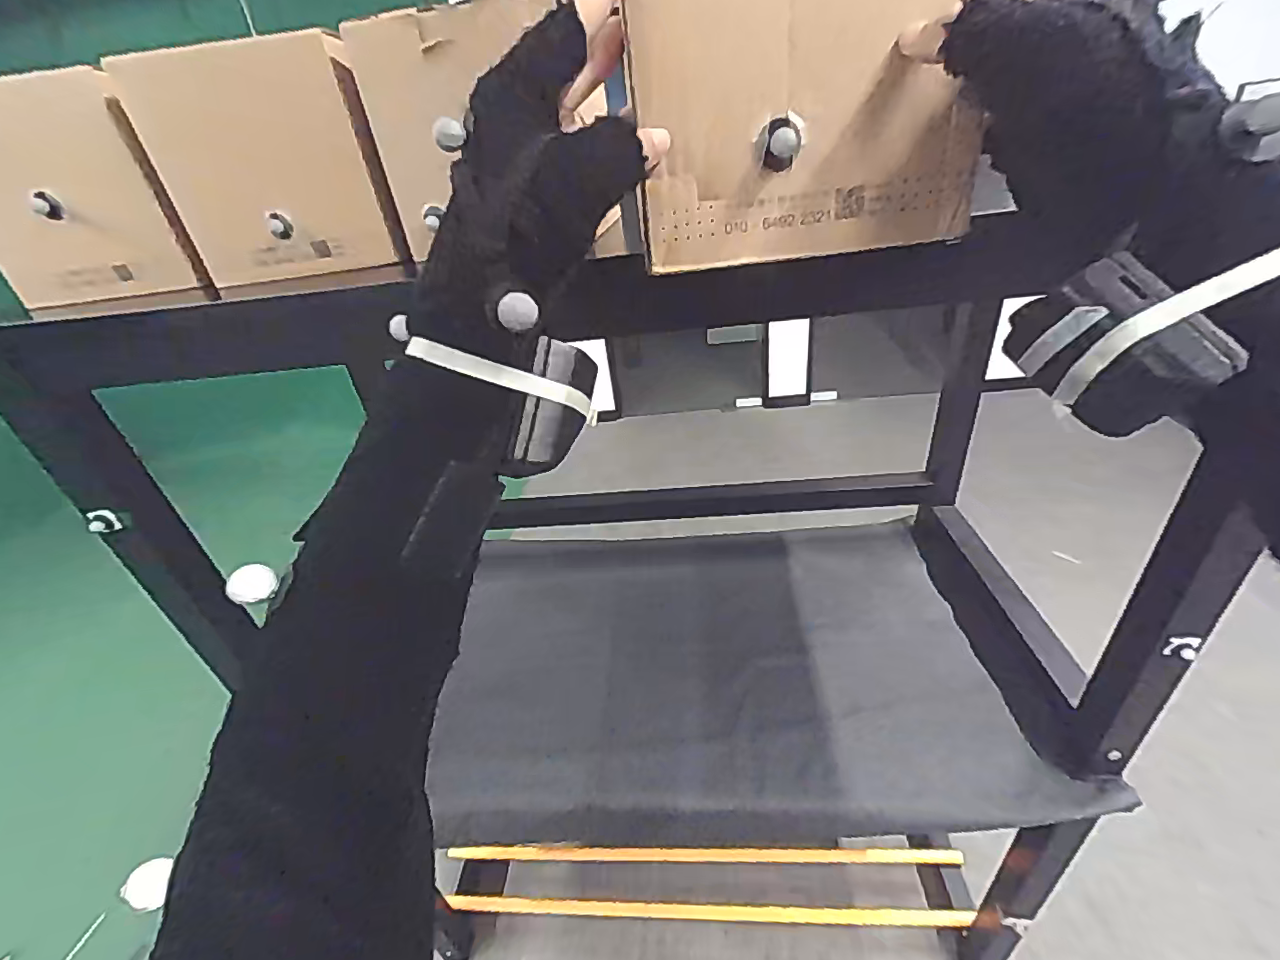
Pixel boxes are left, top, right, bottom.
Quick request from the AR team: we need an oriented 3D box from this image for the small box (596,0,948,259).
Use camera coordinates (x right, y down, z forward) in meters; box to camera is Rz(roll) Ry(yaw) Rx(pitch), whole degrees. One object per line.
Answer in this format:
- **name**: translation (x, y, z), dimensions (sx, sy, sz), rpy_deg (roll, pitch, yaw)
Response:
- **small box**: translation (0.063, -0.240, 0.333), dimensions (0.168, 0.176, 0.179), rpy_deg (-6, 30, 3)

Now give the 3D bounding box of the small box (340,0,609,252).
- **small box**: translation (-0.130, -0.318, 0.508), dimensions (0.168, 0.176, 0.179), rpy_deg (-3, 31, 9)

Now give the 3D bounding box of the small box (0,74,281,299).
- **small box**: translation (-0.509, -0.286, 0.546), dimensions (0.168, 0.176, 0.179), rpy_deg (-6, 31, 0)
